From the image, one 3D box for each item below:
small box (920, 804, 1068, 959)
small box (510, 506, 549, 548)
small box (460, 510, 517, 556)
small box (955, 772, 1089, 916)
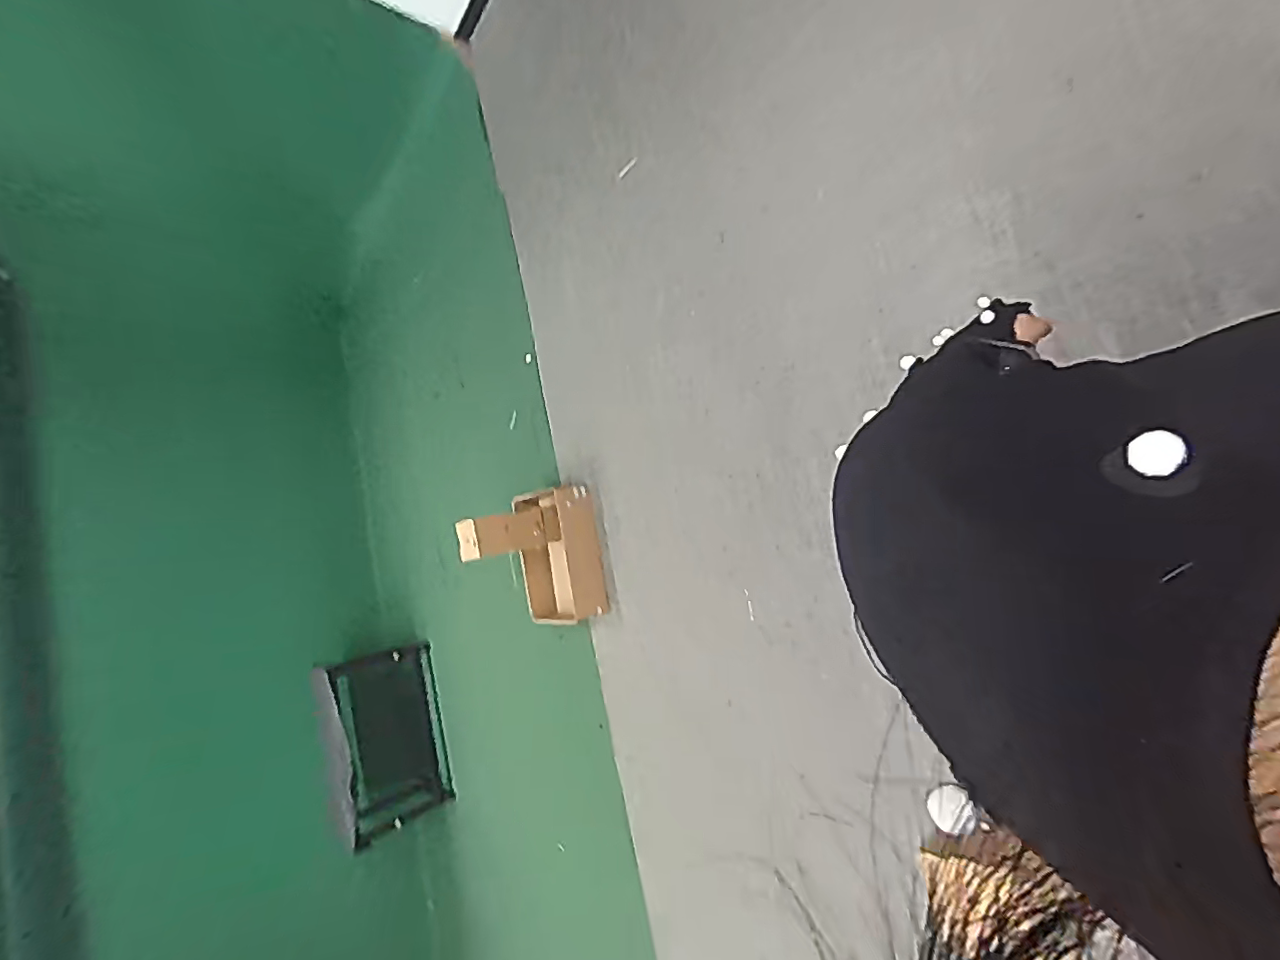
[{"bbox_3d":[0.671,0.753,1.022,0.168,0.176,0.179,-25,75,46],"label":"small box"},{"bbox_3d":[-0.537,0.215,2.460,0.179,0.176,0.168,-12,87,46],"label":"small box"},{"bbox_3d":[-0.656,0.229,2.348,0.179,0.176,0.168,-17,83,48],"label":"small box"},{"bbox_3d":[0.796,0.742,1.125,0.168,0.176,0.179,-24,77,47],"label":"small box"}]
